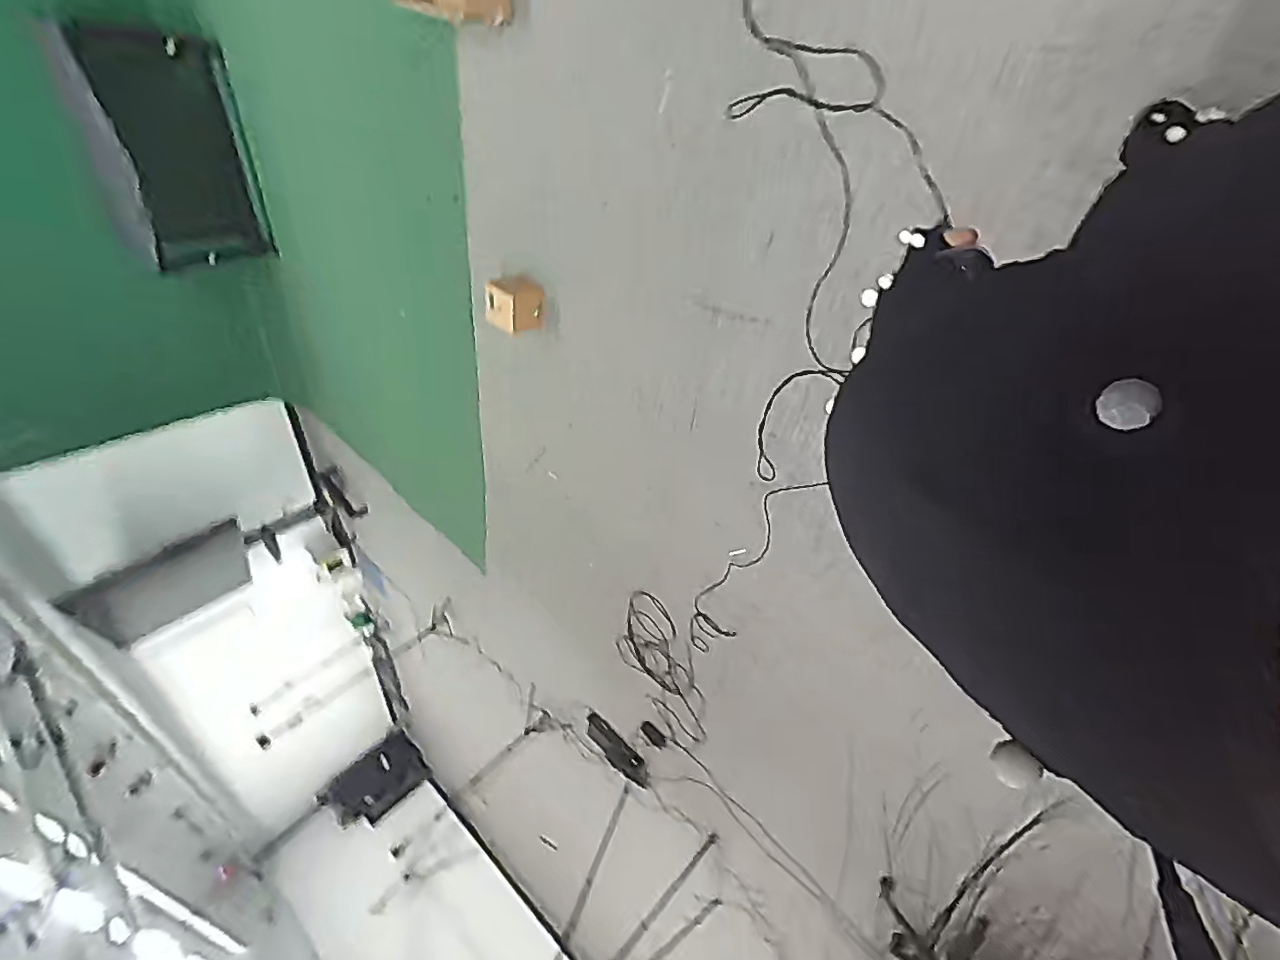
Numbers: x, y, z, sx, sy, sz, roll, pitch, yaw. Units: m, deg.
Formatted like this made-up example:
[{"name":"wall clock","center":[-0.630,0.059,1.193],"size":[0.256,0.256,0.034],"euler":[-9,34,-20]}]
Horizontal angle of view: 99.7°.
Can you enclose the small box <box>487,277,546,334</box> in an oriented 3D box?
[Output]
[{"name":"small box","center":[-0.515,-0.731,2.245],"size":[0.179,0.176,0.168],"euler":[34,135,24]}]
